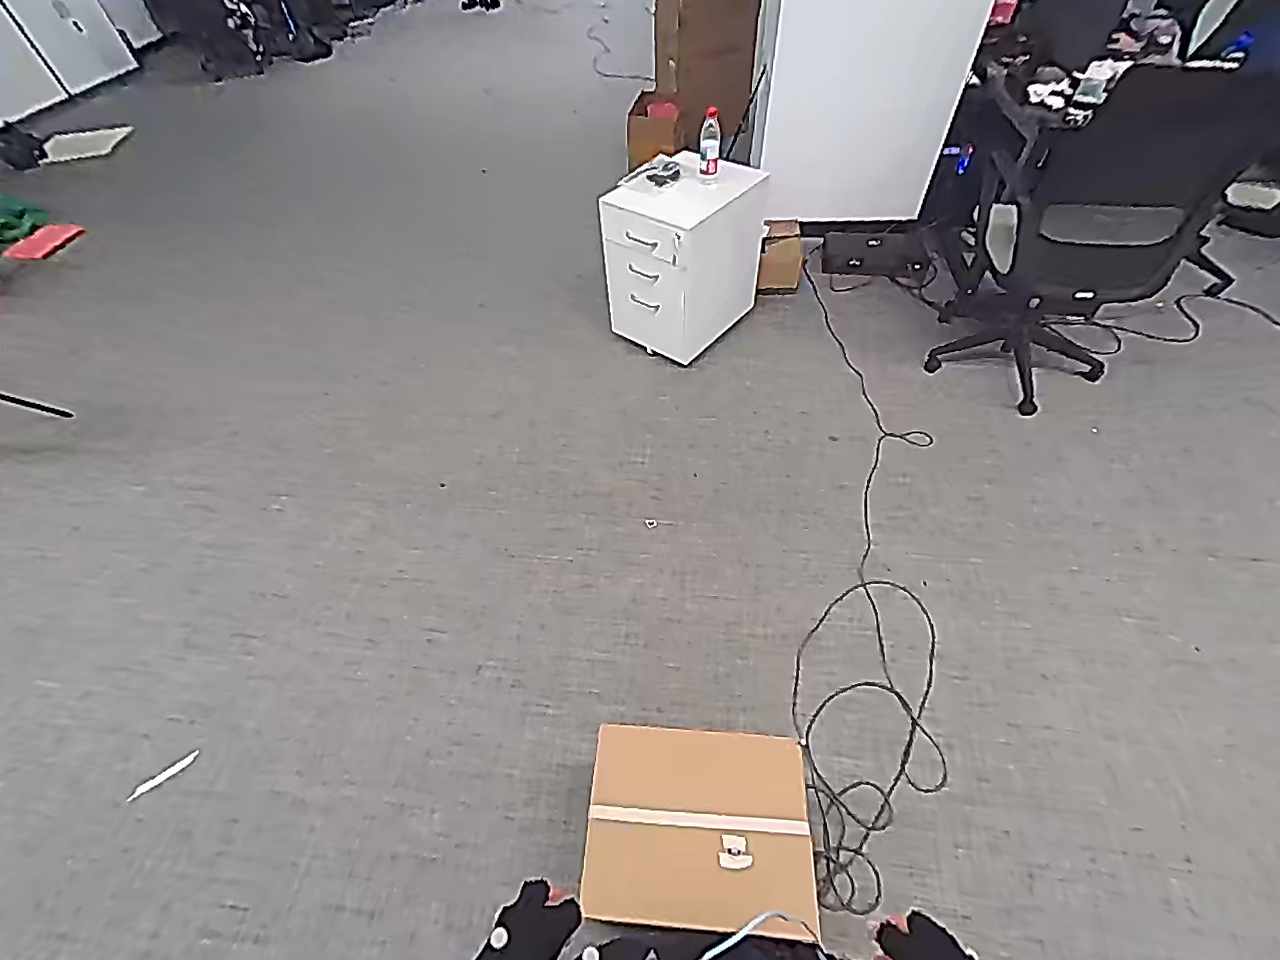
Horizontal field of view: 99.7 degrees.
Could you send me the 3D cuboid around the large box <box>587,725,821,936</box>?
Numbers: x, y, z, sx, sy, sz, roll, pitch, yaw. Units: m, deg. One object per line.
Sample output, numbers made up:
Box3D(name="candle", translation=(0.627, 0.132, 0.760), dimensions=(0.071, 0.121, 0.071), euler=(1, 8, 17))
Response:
Box3D(name="large box", translation=(0.118, 0.724, 1.116), dimensions=(0.408, 0.320, 0.320), euler=(2, 51, 5))
